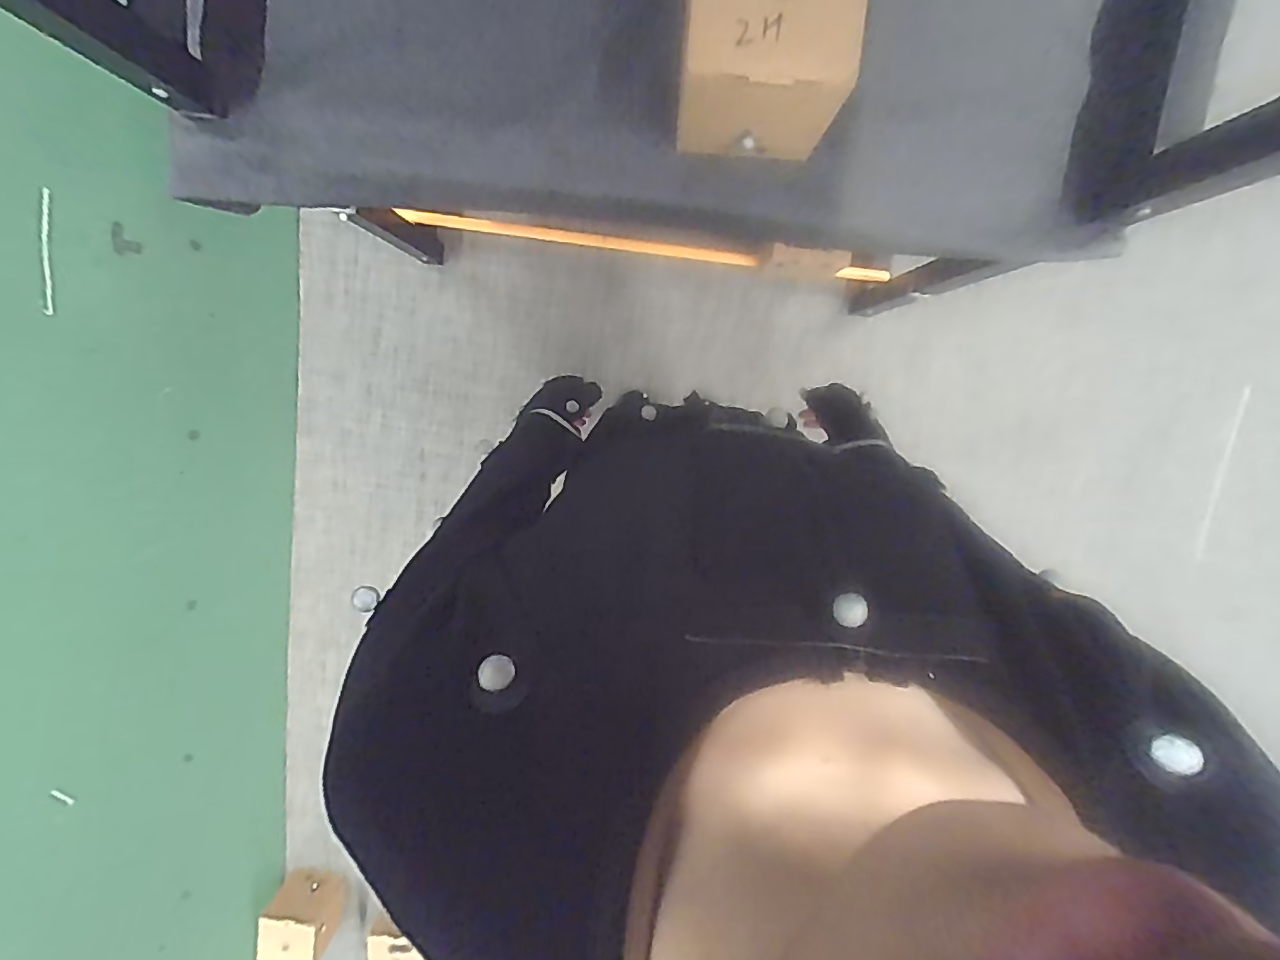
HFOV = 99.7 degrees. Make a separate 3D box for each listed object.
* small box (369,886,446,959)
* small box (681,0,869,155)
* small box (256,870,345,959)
[{"bbox_3d":[-0.698,1.375,1.635,0.168,0.176,0.179,3,100,0],"label":"small box"},{"bbox_3d":[0.136,-0.488,0.584,0.168,0.176,0.179,5,98,0],"label":"small box"},{"bbox_3d":[-1.019,1.333,1.633,0.168,0.176,0.179,9,99,-1],"label":"small box"}]
